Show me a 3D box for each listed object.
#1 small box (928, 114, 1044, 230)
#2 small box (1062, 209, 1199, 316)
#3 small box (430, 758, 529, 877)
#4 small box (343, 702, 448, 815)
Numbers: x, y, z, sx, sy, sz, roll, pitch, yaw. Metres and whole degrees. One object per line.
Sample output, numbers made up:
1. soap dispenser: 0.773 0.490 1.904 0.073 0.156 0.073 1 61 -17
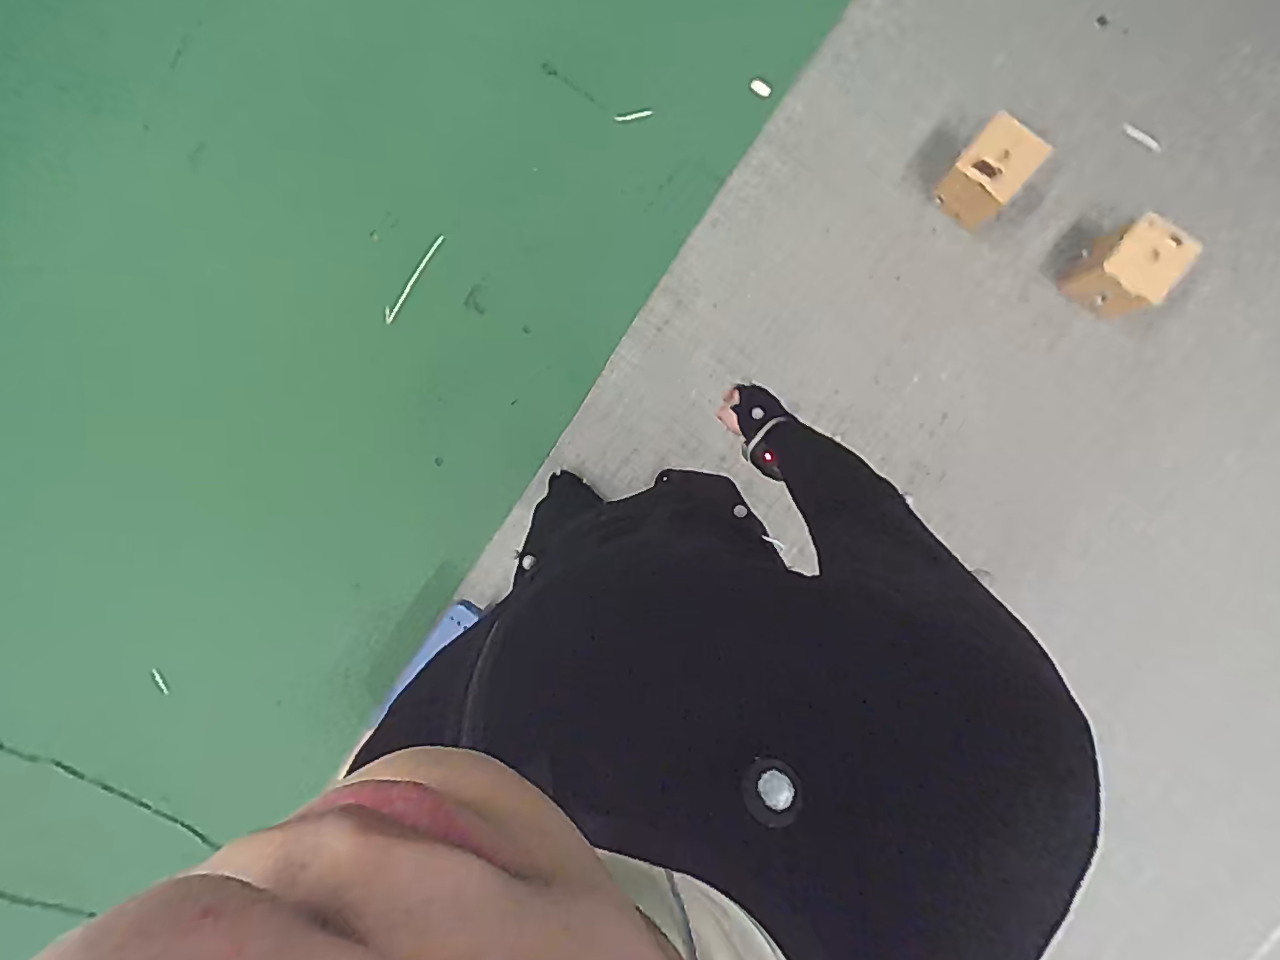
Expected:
1. small box: 0.913 -0.815 1.453 0.168 0.176 0.179 40 95 1
2. small box: 1.266 -0.558 1.416 0.168 0.176 0.179 37 96 2
3. small box: -0.428 0.912 1.477 0.168 0.176 0.179 35 94 3
4. small box: -0.660 0.757 1.485 0.168 0.176 0.179 34 95 1
